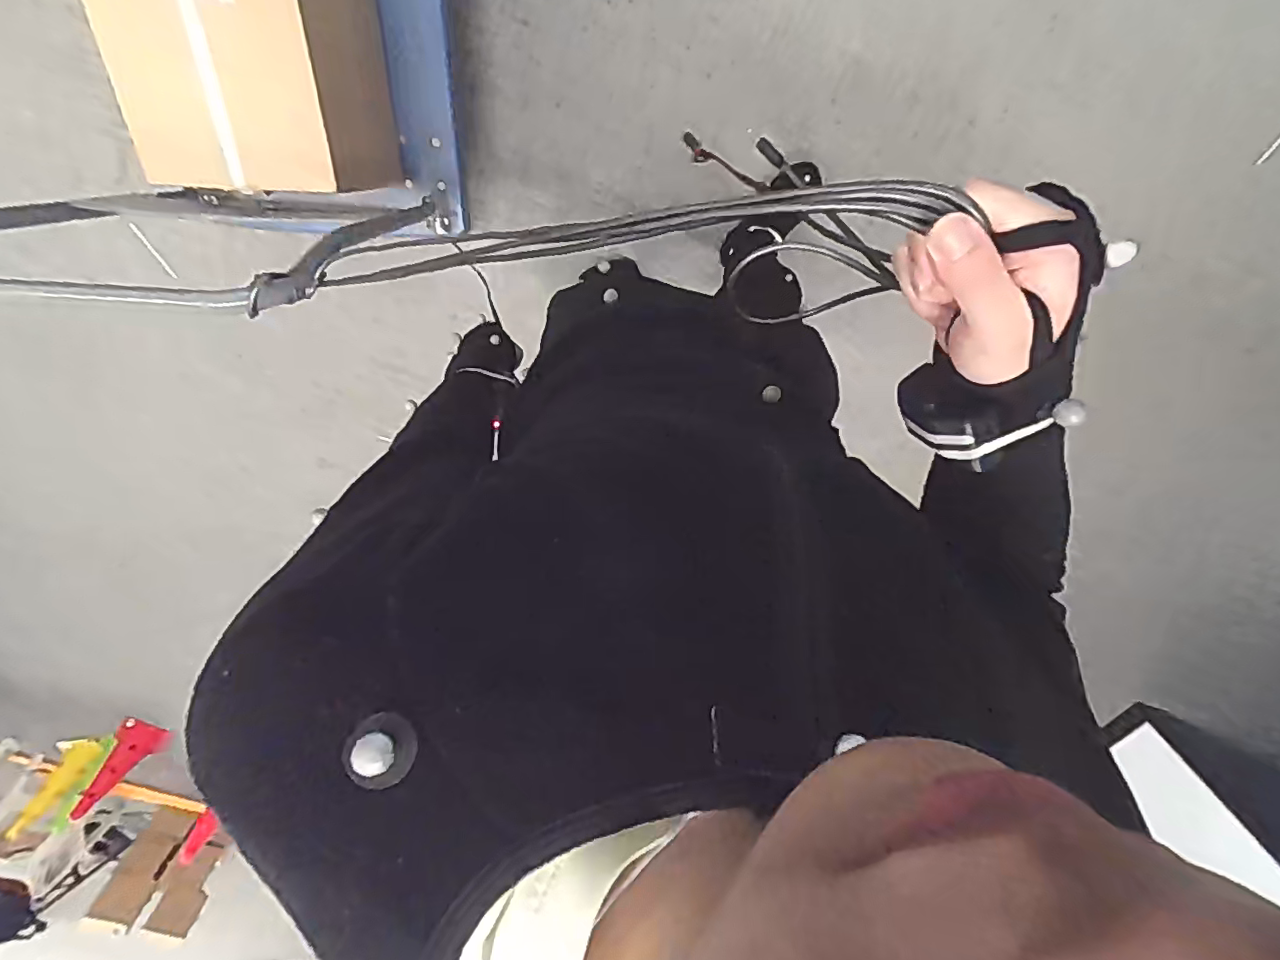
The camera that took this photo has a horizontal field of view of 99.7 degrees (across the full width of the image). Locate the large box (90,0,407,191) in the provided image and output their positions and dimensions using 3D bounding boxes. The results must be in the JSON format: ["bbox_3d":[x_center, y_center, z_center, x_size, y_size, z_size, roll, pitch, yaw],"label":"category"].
[{"bbox_3d":[-0.643,-0.727,0.929,0.320,0.320,0.408,2,119,-1],"label":"large box"}]
